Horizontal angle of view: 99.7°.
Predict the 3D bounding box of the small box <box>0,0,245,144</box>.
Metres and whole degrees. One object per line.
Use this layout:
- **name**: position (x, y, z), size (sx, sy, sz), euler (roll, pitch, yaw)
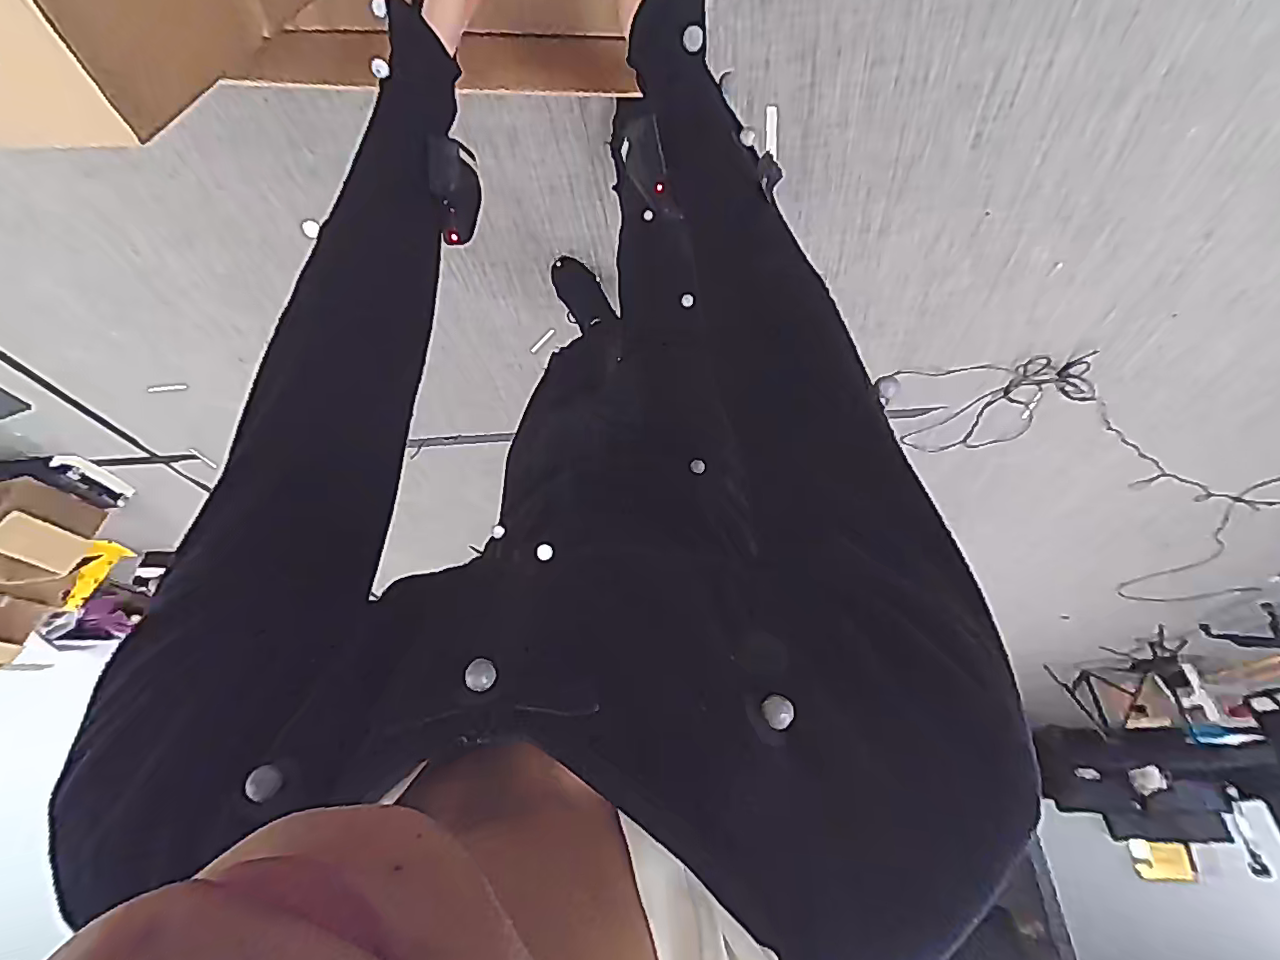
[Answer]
- **small box**: position (-0.370, -0.309, 0.288), size (0.168, 0.176, 0.179), euler (1, 145, 3)
